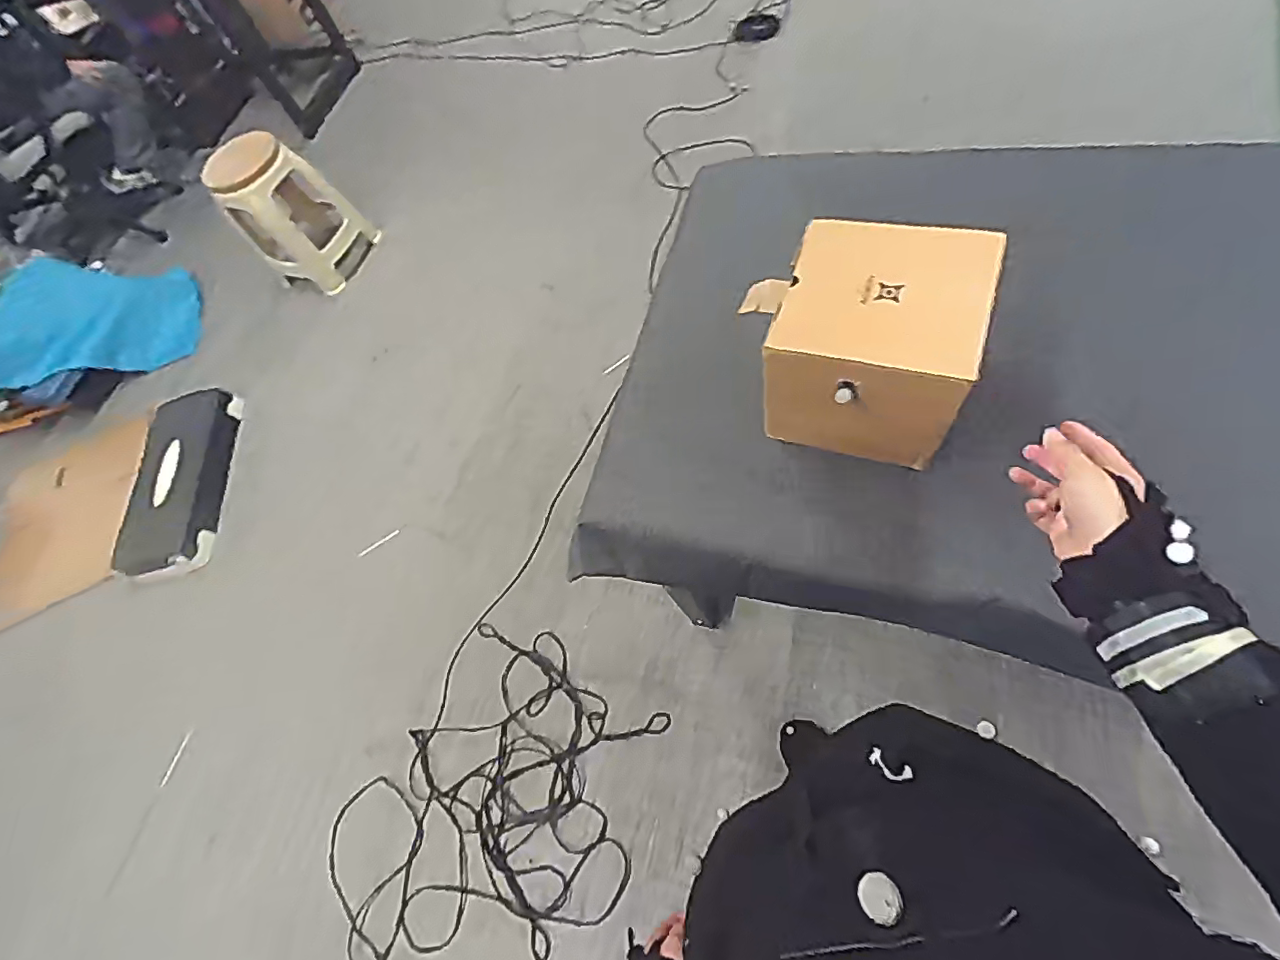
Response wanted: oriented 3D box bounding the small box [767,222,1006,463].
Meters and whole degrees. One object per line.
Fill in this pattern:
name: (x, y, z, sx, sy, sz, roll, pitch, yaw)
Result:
small box: (0.241, -0.135, 0.564, 0.179, 0.176, 0.168, 16, 69, 21)
